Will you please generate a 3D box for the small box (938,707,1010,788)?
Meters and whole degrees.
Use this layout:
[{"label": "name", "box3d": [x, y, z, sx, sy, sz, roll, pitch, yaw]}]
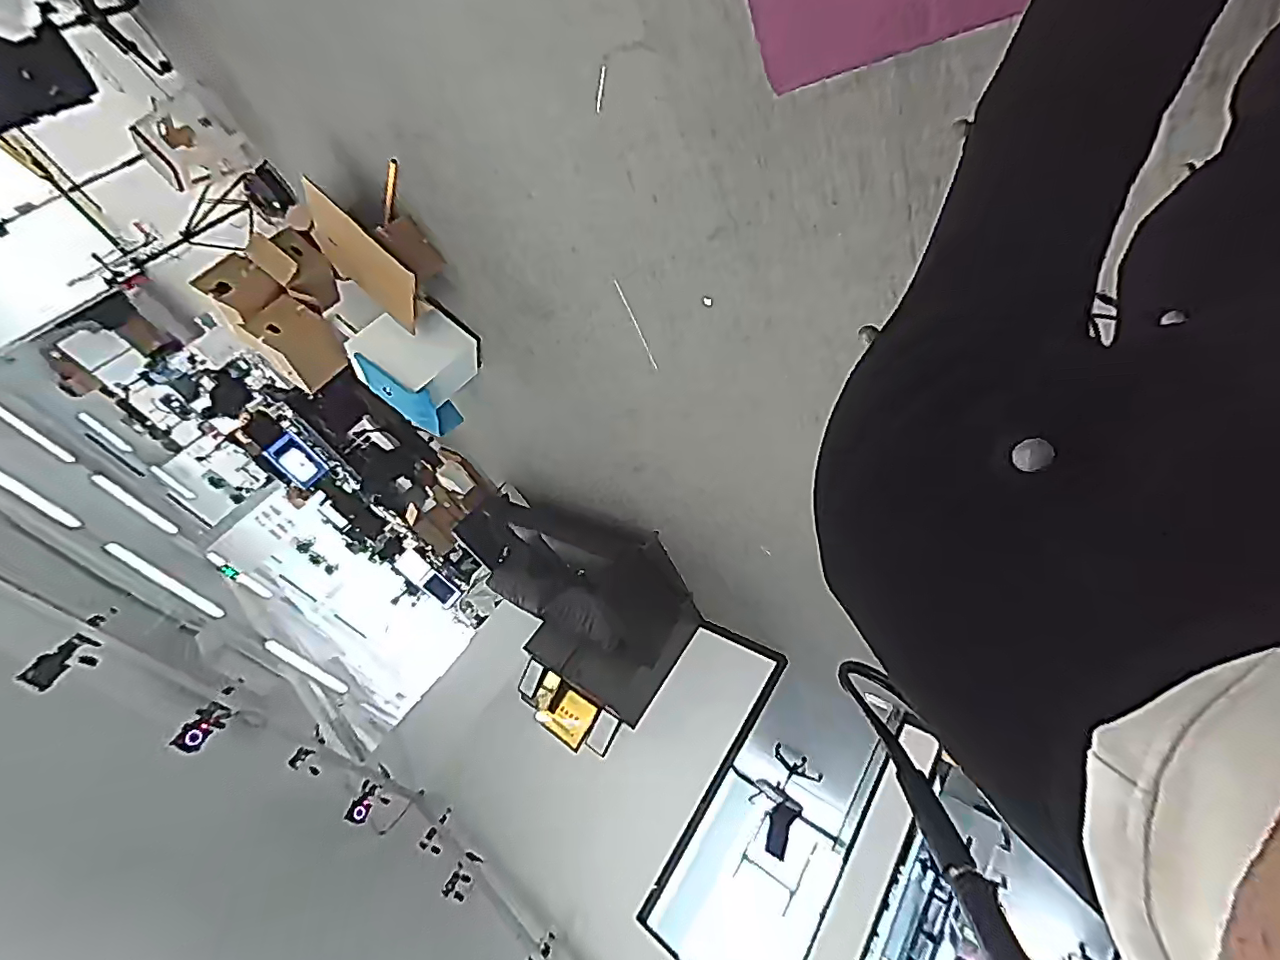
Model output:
[{"label": "small box", "box3d": [1.156, 0.920, 1.870, 0.168, 0.176, 0.179, 20, 149, 37]}]
